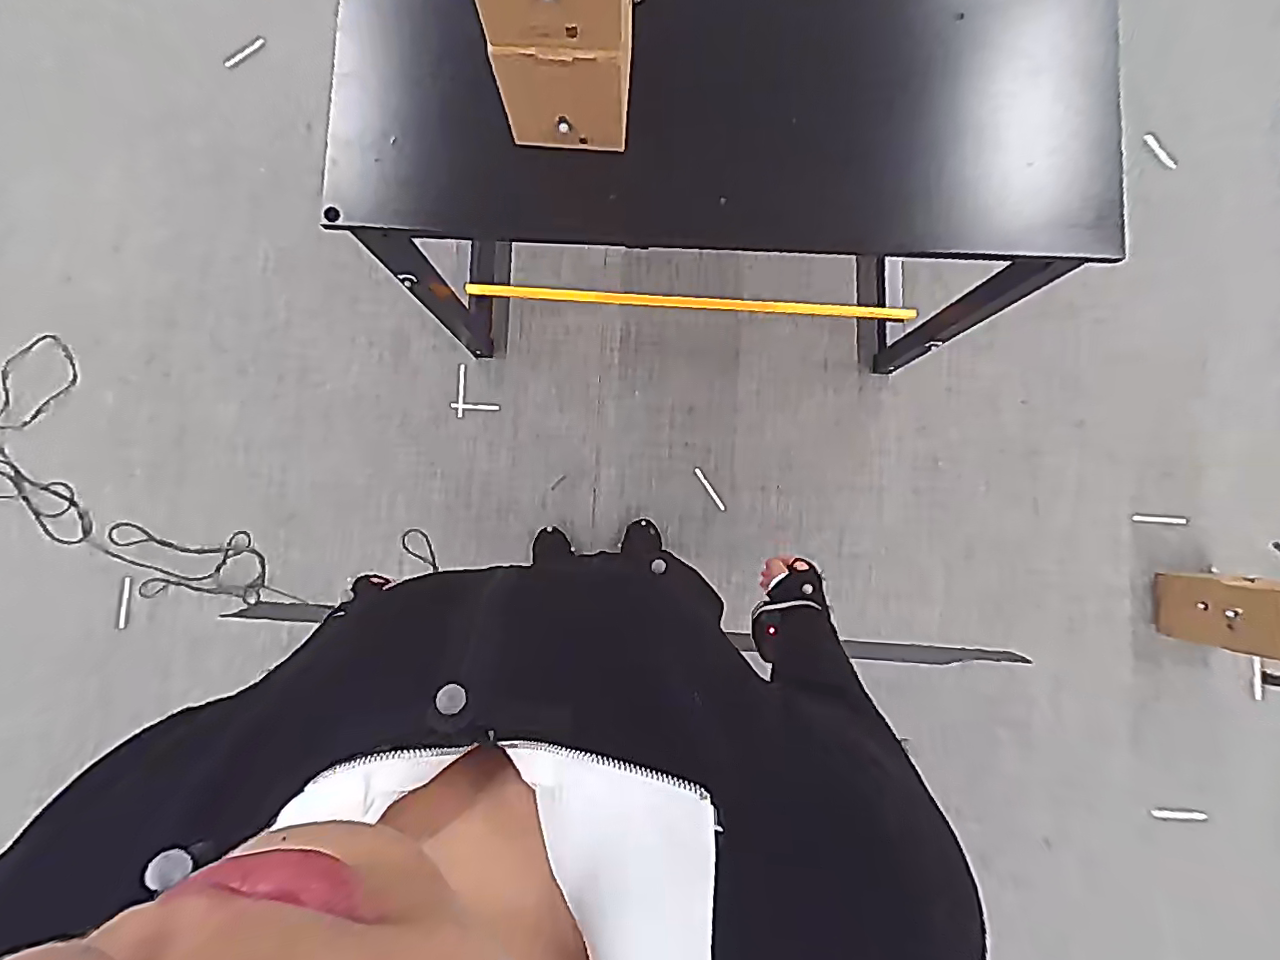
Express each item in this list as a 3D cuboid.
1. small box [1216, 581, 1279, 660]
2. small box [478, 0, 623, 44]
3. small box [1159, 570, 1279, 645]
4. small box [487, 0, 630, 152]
[{"bbox_3d":[1.519,0.325,1.258,0.179,0.176,0.168,-1,85,1],"label":"small box"},{"bbox_3d":[-0.101,-0.617,0.582,0.168,0.176,0.179,1,86,0],"label":"small box"},{"bbox_3d":[1.521,0.333,1.421,0.168,0.176,0.179,1,87,0],"label":"small box"},{"bbox_3d":[-0.101,-0.595,0.745,0.168,0.176,0.179,4,86,0],"label":"small box"}]
